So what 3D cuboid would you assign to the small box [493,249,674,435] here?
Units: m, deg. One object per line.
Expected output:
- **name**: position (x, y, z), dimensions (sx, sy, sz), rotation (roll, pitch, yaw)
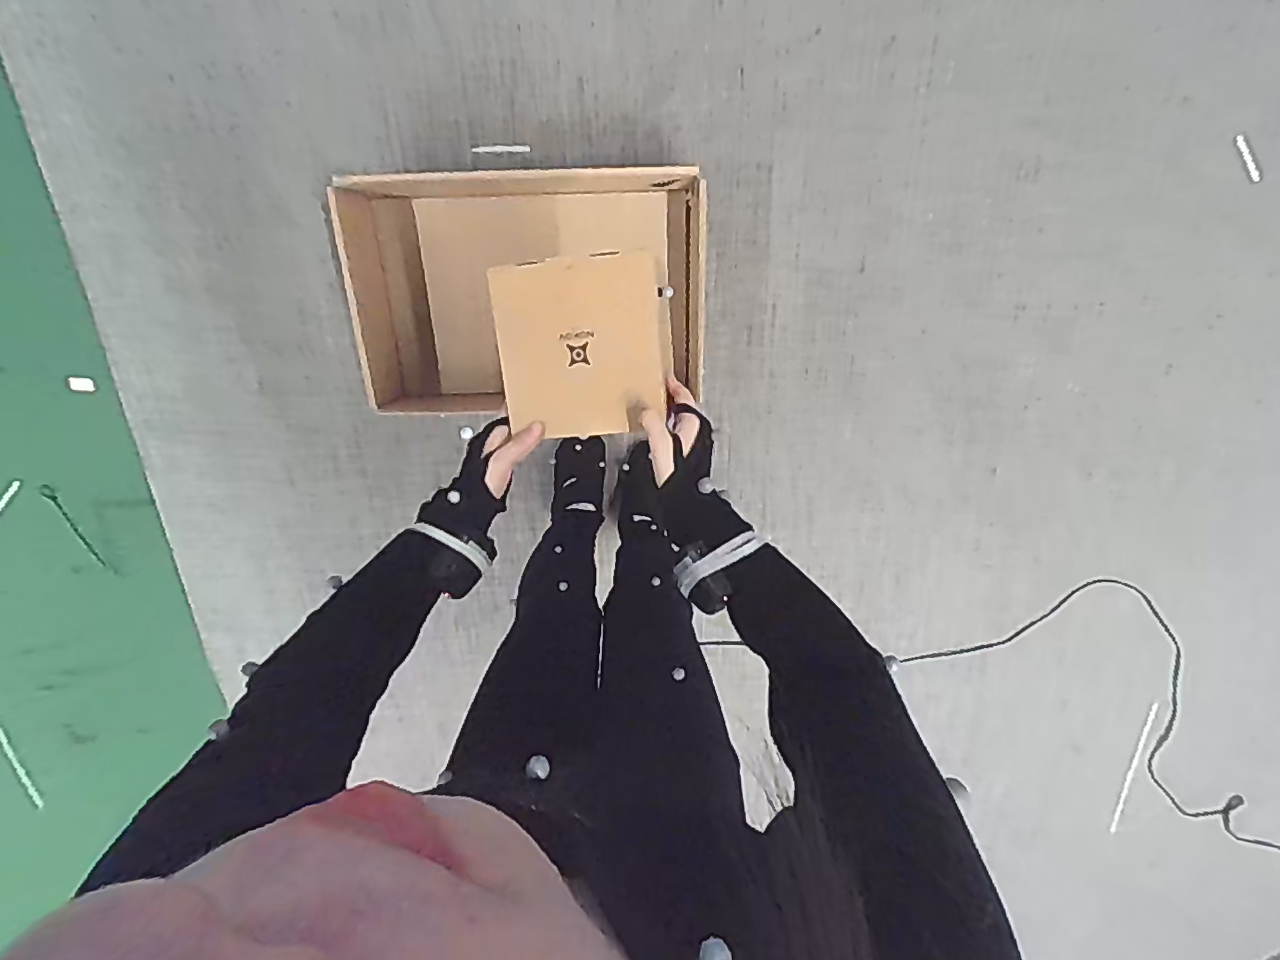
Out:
- **small box**: position (-0.051, -0.156, 0.626), dimensions (0.168, 0.176, 0.179), rotation (-3, 103, 8)
